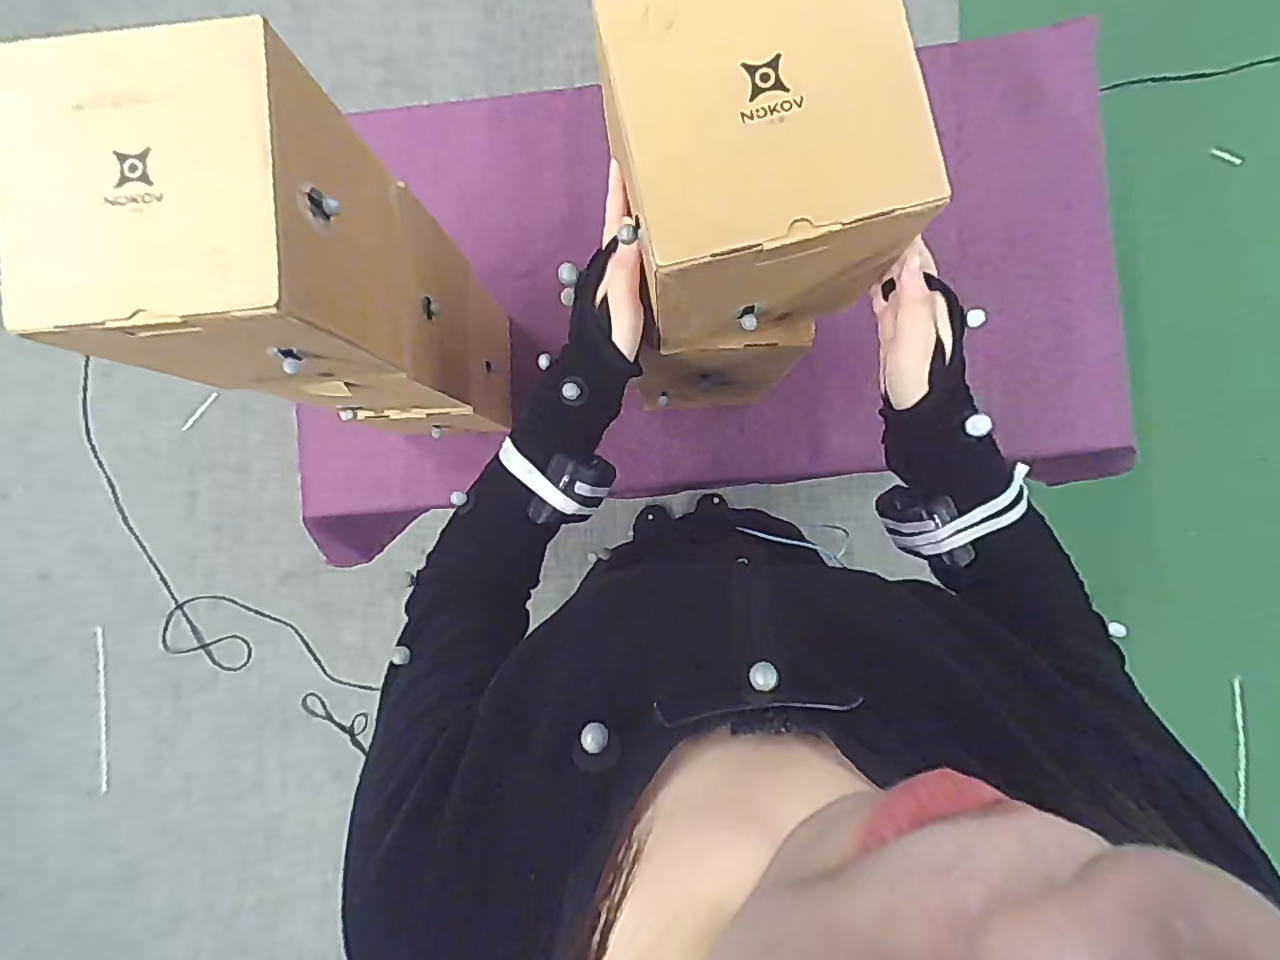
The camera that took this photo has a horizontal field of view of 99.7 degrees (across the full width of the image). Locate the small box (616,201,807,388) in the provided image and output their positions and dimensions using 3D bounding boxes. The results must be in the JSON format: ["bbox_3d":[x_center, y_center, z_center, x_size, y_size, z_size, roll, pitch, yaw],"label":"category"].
[{"bbox_3d":[0.064,-0.197,0.544,0.168,0.176,0.179,0,89,2],"label":"small box"}]

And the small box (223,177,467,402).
[{"bbox_3d":[-0.285,-0.176,0.554,0.168,0.176,0.179,-1,88,1],"label":"small box"}]

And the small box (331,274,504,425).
[{"bbox_3d":[-0.284,-0.165,0.718,0.168,0.176,0.179,-1,89,1],"label":"small box"}]

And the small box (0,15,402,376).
[{"bbox_3d":[-0.289,-0.176,0.391,0.168,0.176,0.179,-3,88,1],"label":"small box"}]

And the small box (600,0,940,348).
[{"bbox_3d":[0.071,-0.212,0.381,0.168,0.176,0.179,-12,89,1],"label":"small box"}]
